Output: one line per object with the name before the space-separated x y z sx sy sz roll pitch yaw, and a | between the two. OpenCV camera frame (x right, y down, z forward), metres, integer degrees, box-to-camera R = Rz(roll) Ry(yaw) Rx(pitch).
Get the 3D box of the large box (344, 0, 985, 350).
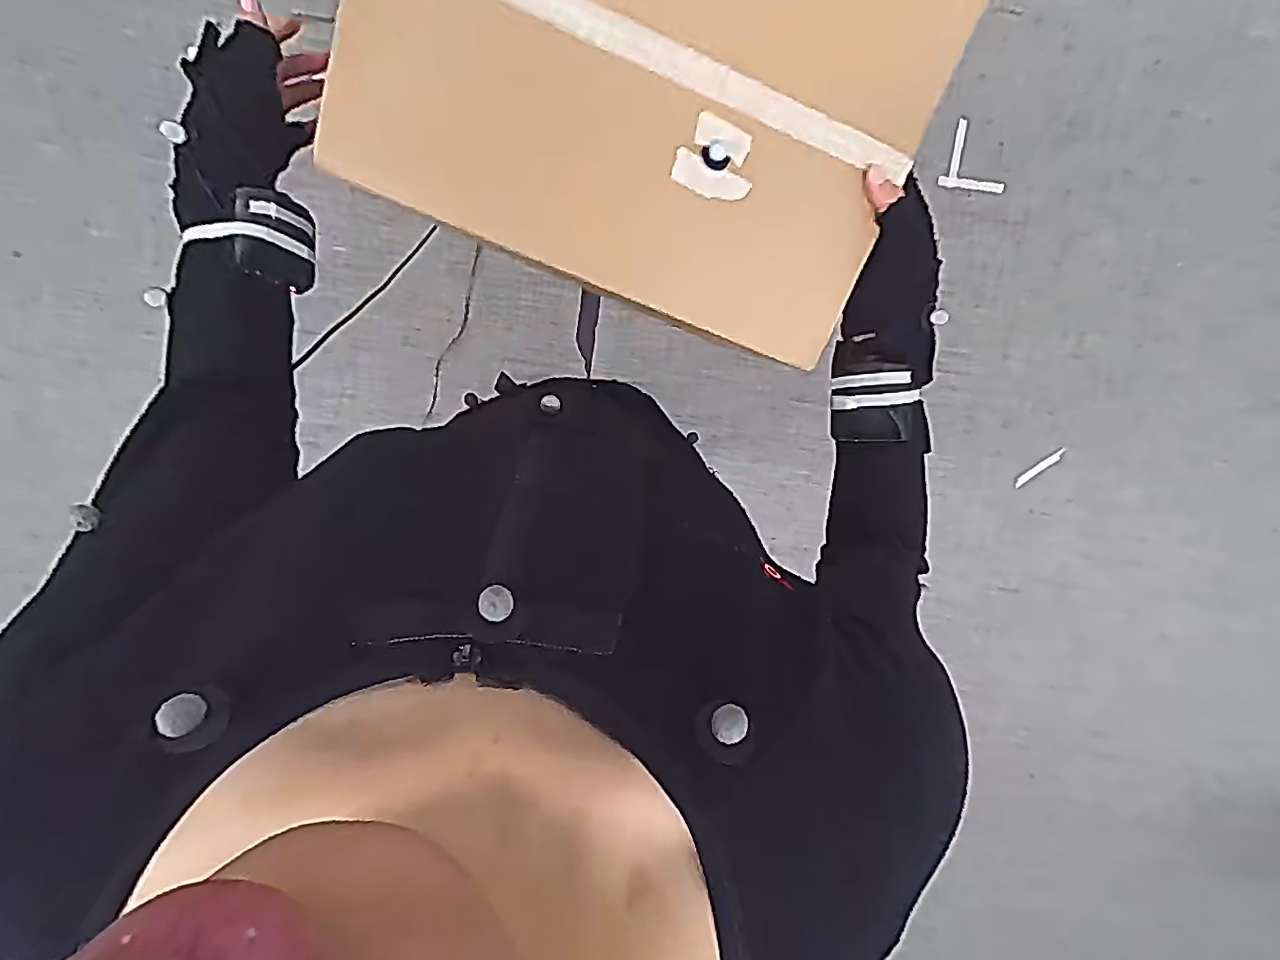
large box | 0.011 -0.351 0.526 0.408 0.320 0.320 20 106 -9
